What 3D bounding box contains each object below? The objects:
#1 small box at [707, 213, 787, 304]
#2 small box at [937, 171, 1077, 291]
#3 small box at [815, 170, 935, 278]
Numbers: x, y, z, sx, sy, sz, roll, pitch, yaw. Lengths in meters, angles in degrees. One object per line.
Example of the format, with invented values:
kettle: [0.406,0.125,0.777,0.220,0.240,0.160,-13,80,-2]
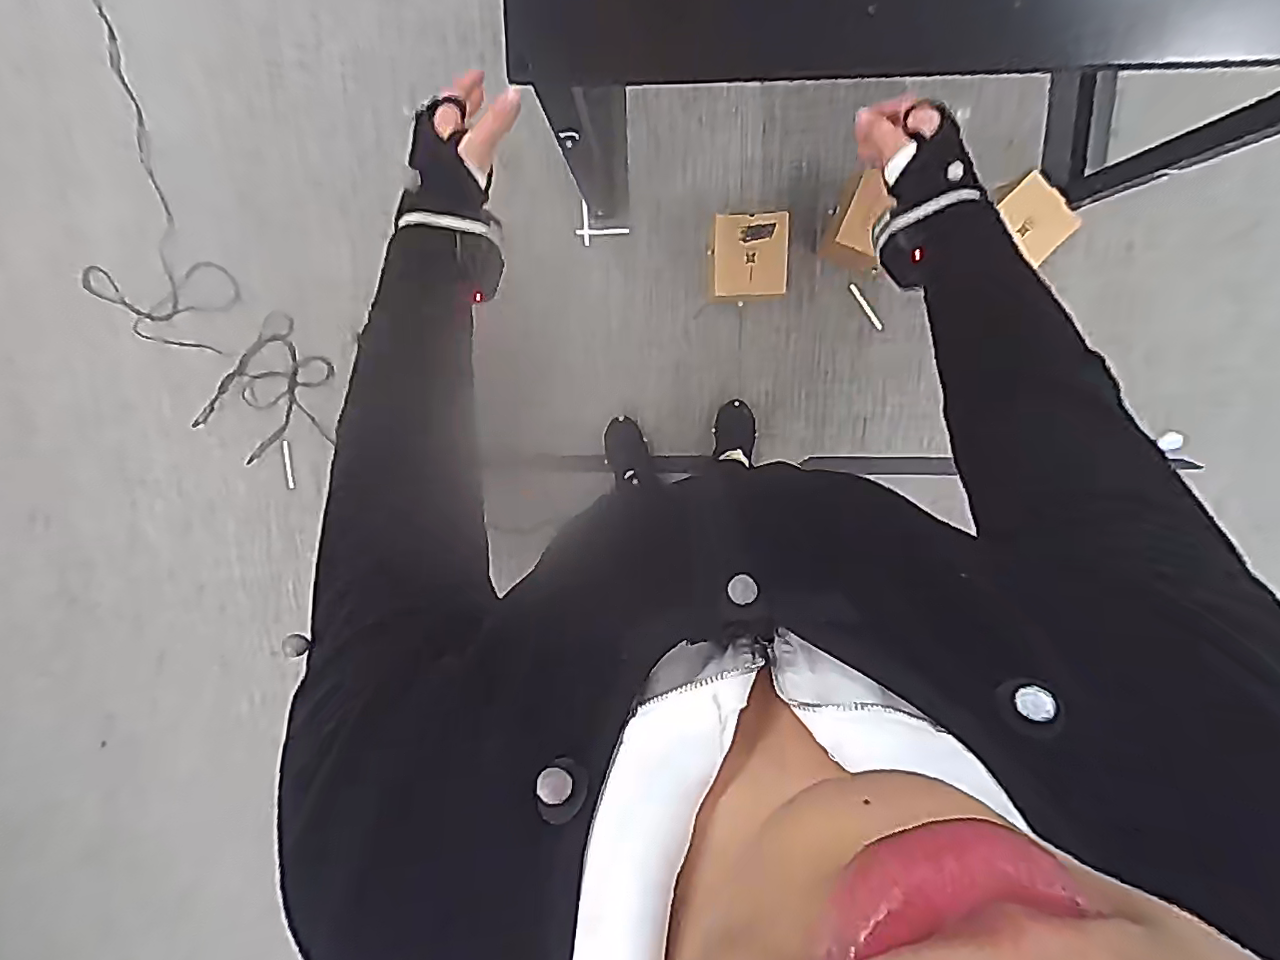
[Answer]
small box: [0.250,-0.525,1.299,0.168,0.176,0.179,-1,104,3]
small box: [0.845,-0.571,1.266,0.168,0.176,0.179,42,101,-6]
small box: [0.543,-0.592,1.276,0.179,0.176,0.168,20,101,-1]
